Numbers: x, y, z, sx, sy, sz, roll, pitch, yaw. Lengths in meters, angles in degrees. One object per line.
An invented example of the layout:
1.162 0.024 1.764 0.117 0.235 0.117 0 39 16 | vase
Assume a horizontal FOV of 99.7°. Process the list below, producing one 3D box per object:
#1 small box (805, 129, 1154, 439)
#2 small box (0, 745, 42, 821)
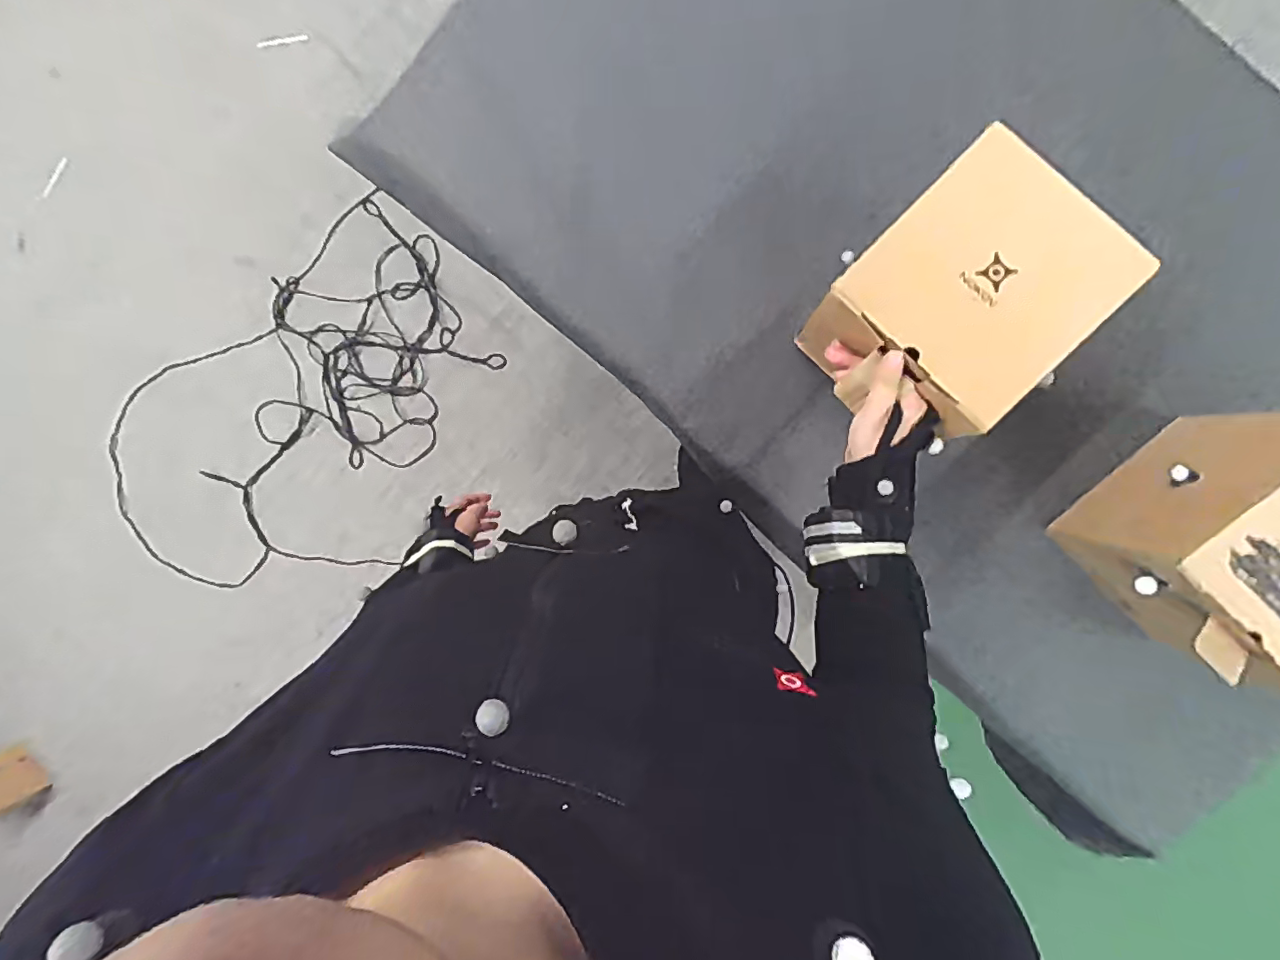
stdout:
0.278 -0.155 0.495 0.168 0.176 0.179 45 95 3 | small box
-1.910 0.913 1.566 0.179 0.176 0.168 -37 88 9 | small box
